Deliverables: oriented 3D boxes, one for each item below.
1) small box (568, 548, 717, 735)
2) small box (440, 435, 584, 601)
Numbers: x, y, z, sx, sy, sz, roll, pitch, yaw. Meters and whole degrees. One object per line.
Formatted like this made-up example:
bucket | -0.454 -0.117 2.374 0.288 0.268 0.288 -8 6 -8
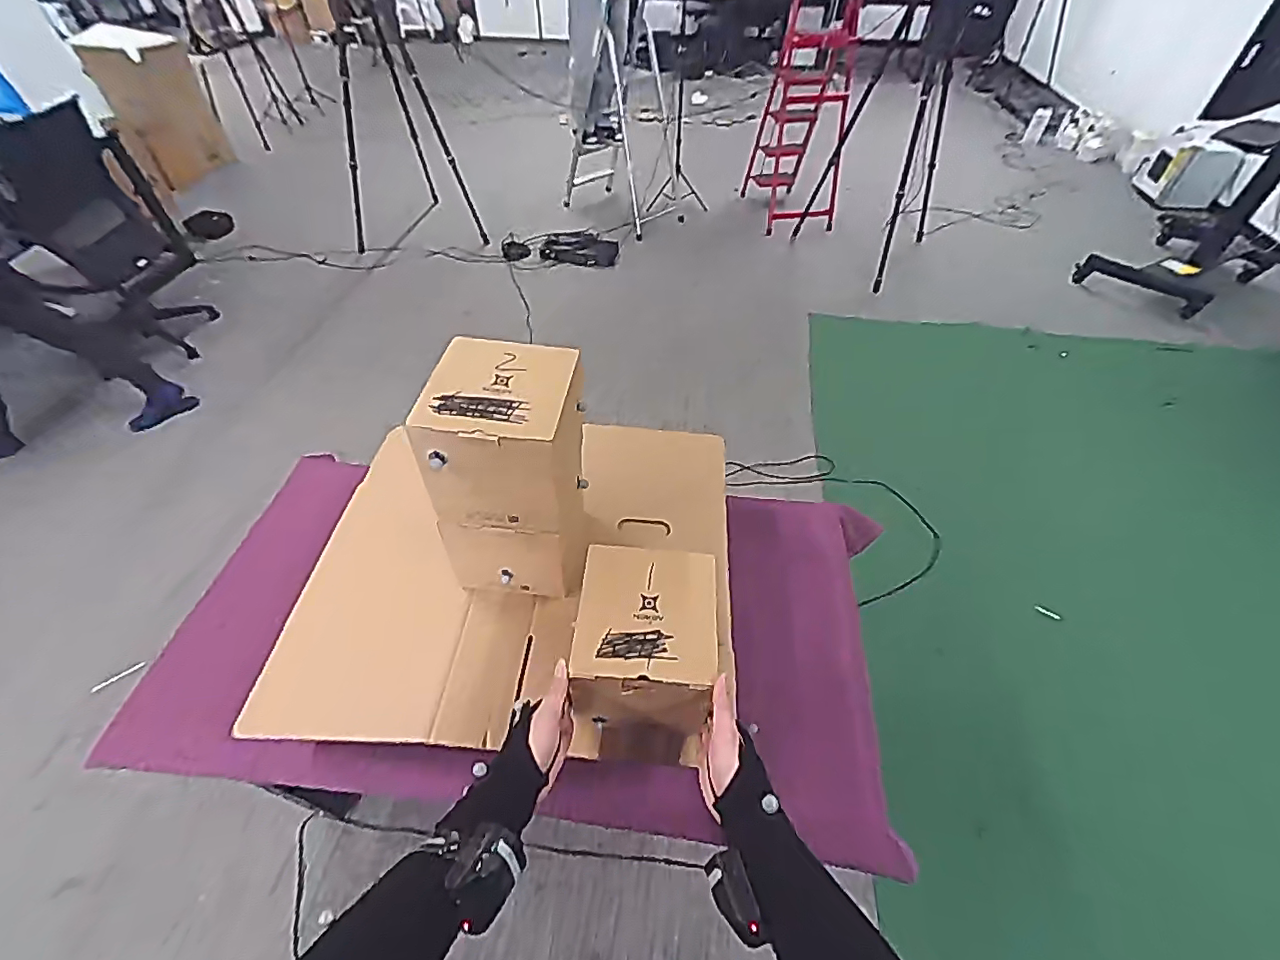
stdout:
small box | 0.008 0.211 0.696 0.168 0.176 0.179 5 48 1
small box | -0.179 0.058 0.818 0.168 0.176 0.179 6 49 1
